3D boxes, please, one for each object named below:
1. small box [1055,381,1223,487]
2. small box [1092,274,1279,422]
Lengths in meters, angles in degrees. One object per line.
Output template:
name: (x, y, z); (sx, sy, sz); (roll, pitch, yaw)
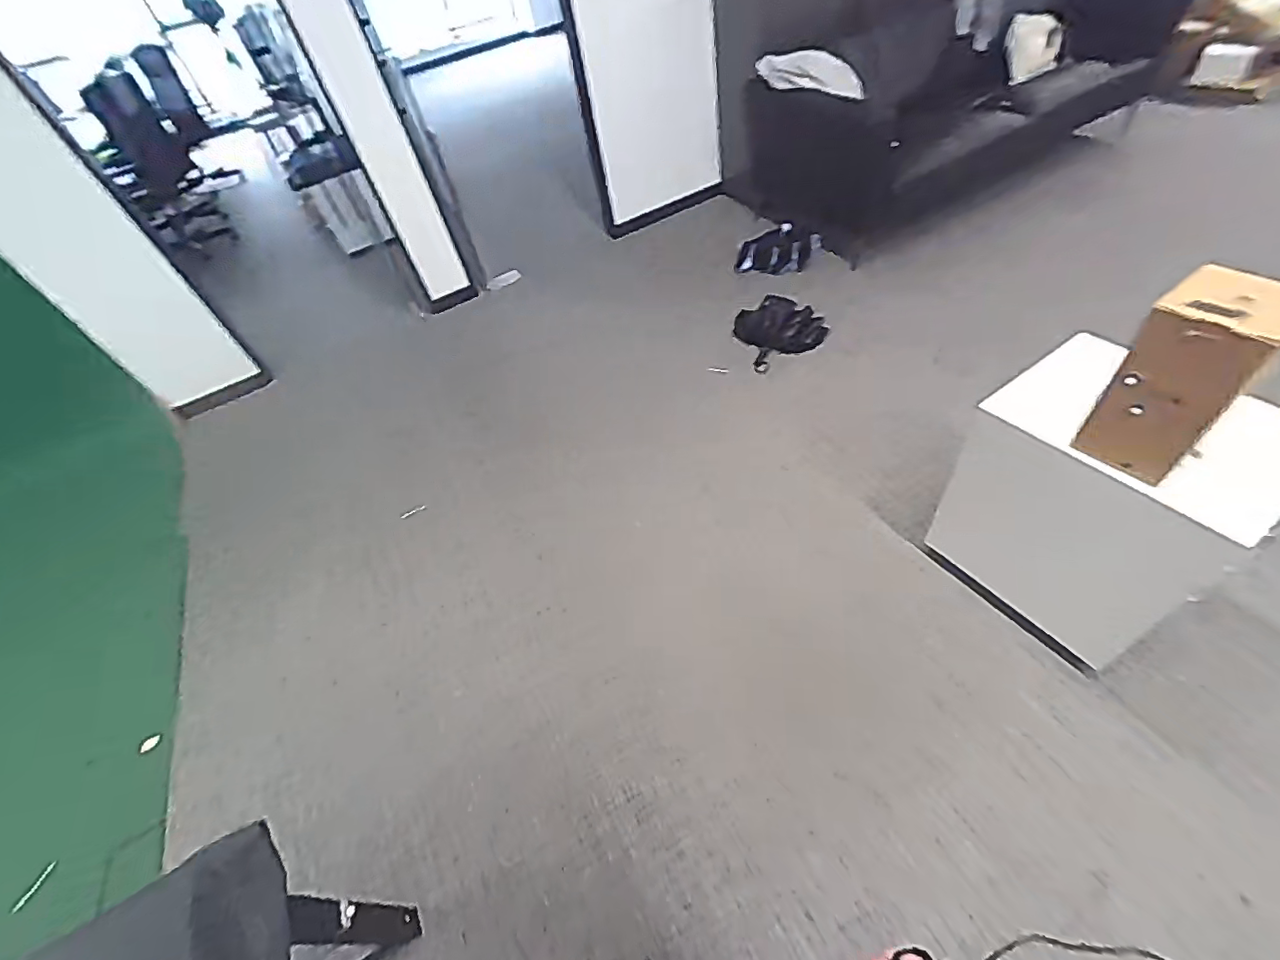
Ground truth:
small box: (0.979, -0.121, 1.079); (0.179, 0.176, 0.168); (-33, 49, -20)
small box: (0.956, -0.232, 0.959); (0.179, 0.176, 0.168); (-33, 50, -20)
